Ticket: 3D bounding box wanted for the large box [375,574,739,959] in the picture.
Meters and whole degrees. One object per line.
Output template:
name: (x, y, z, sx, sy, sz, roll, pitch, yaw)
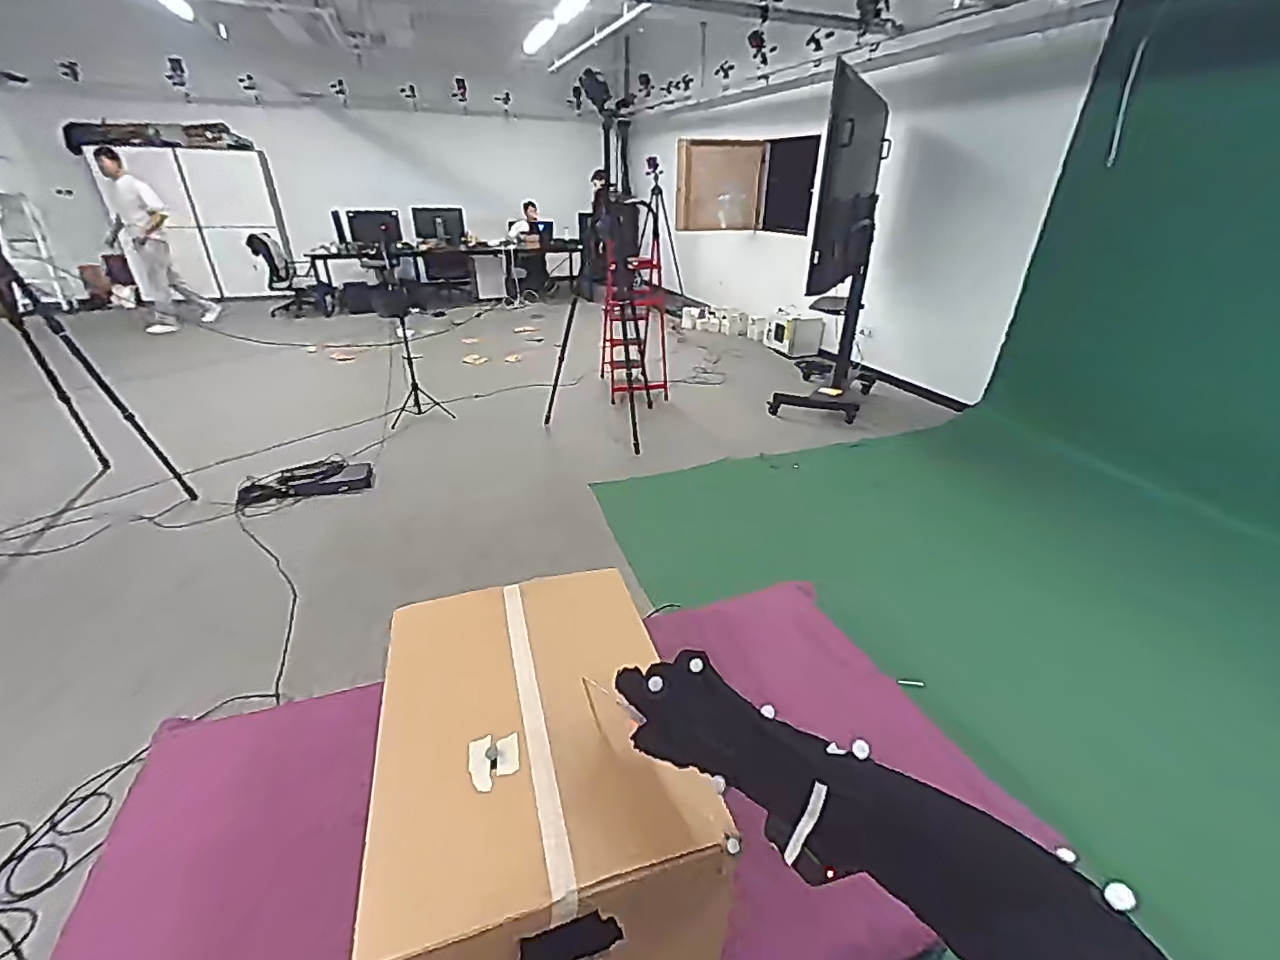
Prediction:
large box: (-0.121, 0.379, 0.680, 0.320, 0.320, 0.408, -8, 30, -16)
